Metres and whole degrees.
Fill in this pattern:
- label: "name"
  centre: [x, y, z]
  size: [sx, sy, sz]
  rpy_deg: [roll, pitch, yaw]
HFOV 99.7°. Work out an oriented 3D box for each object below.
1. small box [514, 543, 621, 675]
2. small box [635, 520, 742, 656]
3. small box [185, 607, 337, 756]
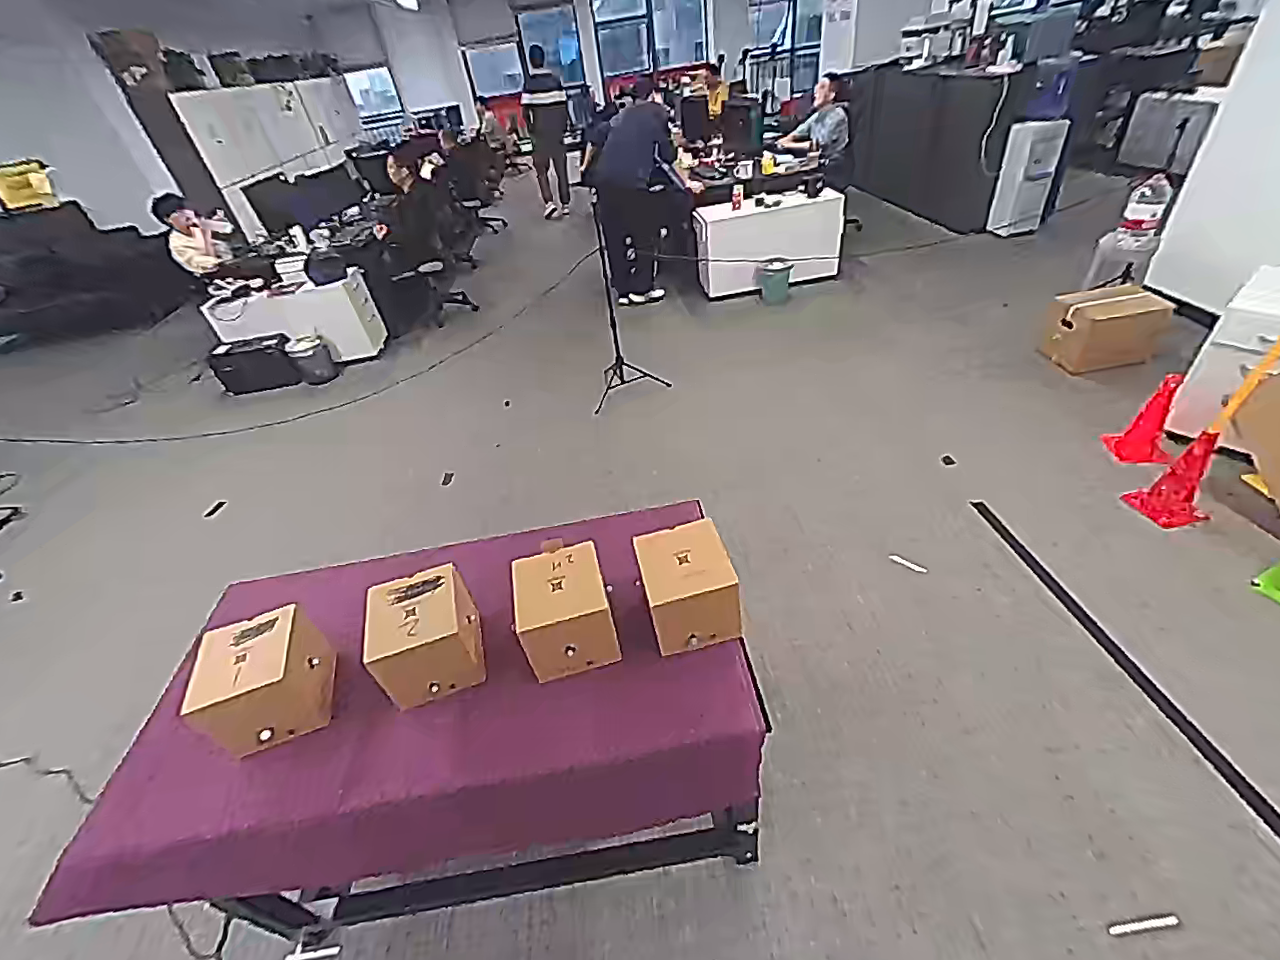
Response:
- label: "small box"
  centre: [-0.141, 0.258, 1.058]
  size: [0.168, 0.176, 0.179]
  rpy_deg: [-14, 39, -5]
- label: "small box"
  centre: [0.094, 0.211, 1.063]
  size: [0.168, 0.176, 0.179]
  rpy_deg: [-14, 38, -3]
- label: "small box"
  centre: [-0.700, 0.382, 1.026]
  size: [0.168, 0.176, 0.179]
  rpy_deg: [-19, 41, -11]
